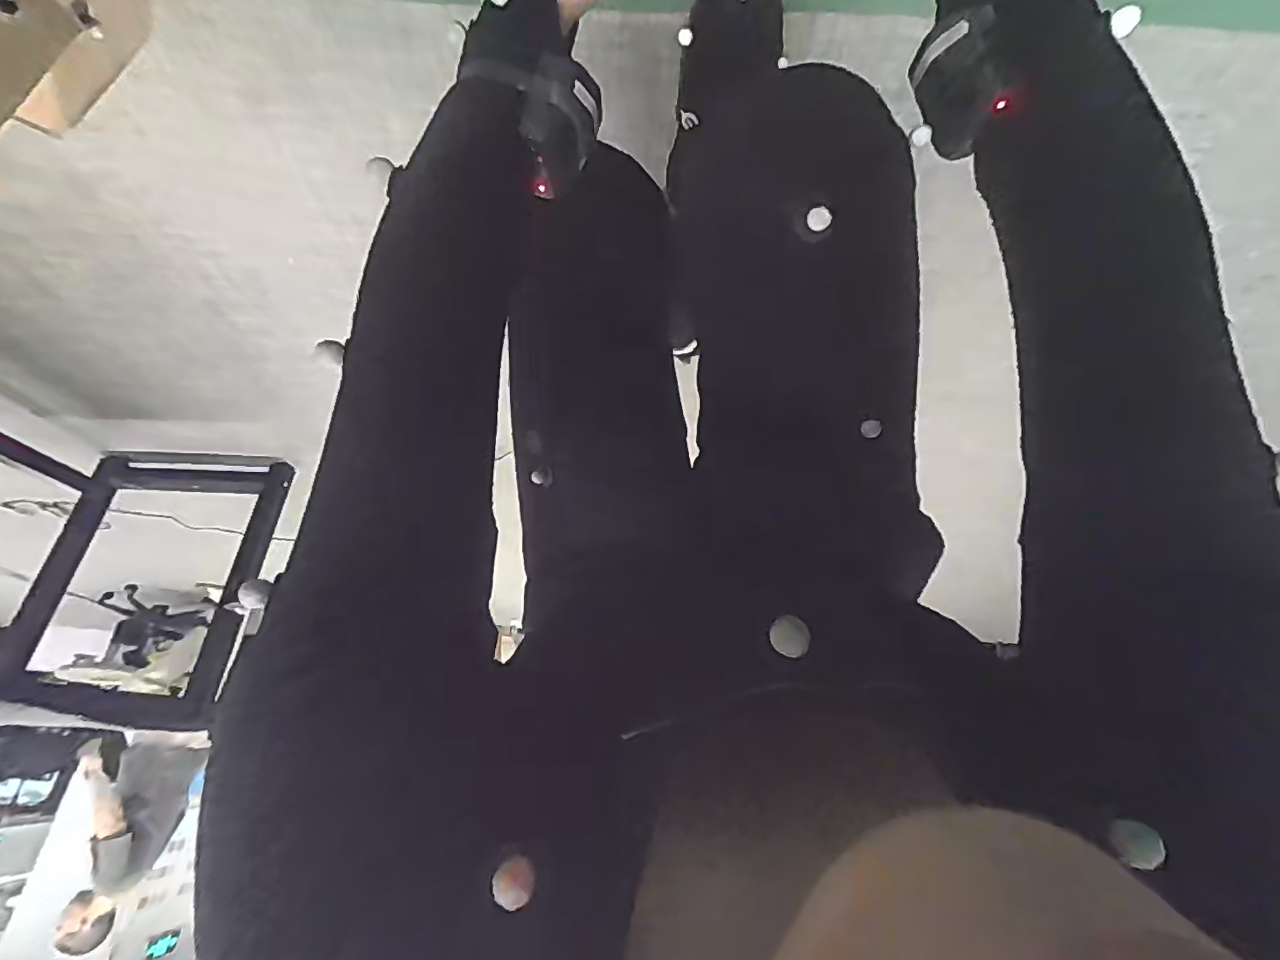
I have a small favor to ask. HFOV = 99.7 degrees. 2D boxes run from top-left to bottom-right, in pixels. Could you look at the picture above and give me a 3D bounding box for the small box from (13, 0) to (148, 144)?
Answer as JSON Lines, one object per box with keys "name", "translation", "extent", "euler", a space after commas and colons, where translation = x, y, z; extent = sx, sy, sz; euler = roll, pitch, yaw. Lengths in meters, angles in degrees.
{"name": "small box", "translation": [-0.446, -0.377, 0.340], "extent": [0.168, 0.176, 0.179], "euler": [20, 148, -34]}
